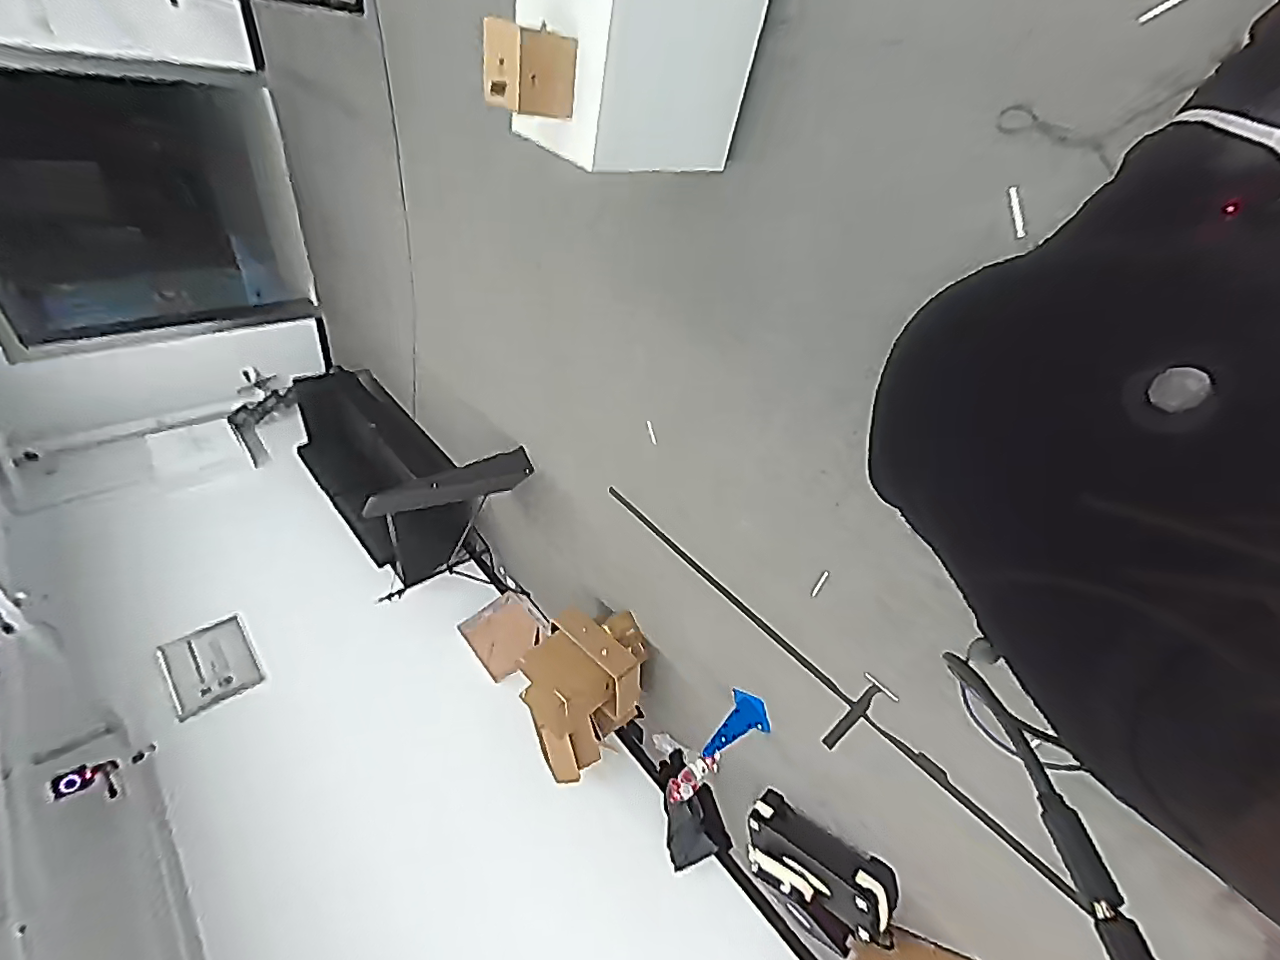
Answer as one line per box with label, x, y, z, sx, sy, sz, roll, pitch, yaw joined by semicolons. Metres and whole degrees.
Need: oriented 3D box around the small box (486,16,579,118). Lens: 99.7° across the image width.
small box;-0.272;-1.040;1.371;0.168;0.176;0.179;40;136;30
